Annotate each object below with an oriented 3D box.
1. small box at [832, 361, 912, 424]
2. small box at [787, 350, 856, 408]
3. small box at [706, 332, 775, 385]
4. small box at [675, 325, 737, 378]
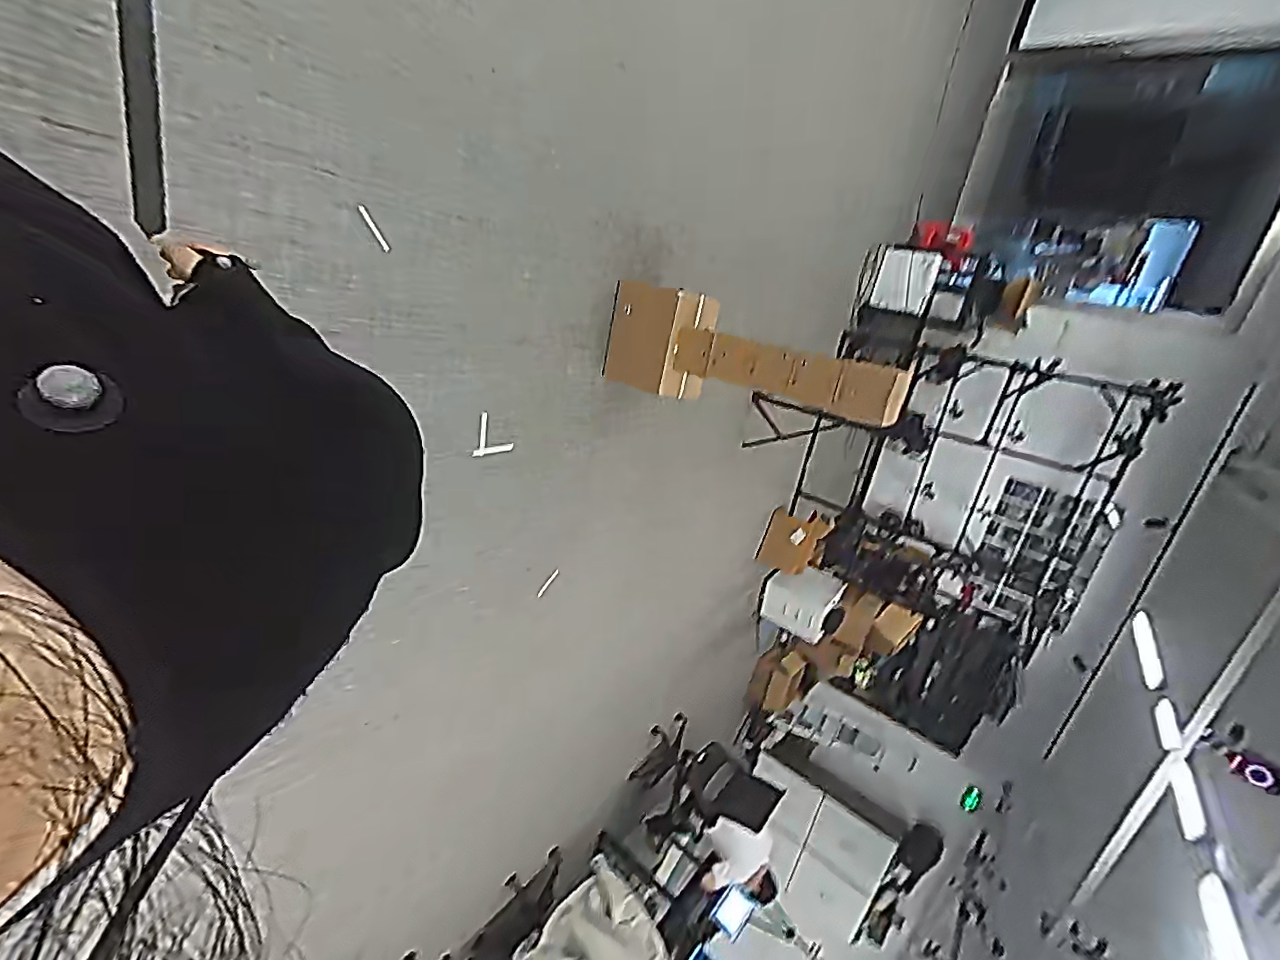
[{"bbox_3d":[0.747,-0.288,1.746,0.179,0.176,0.168,-13,119,-49],"label":"small box"},{"bbox_3d":[0.623,-0.343,1.839,0.179,0.176,0.168,-10,118,-51],"label":"small box"},{"bbox_3d":[0.376,-0.455,2.024,0.179,0.176,0.168,-12,119,-49],"label":"small box"},{"bbox_3d":[0.256,-0.506,2.121,0.168,0.176,0.179,-14,122,-49],"label":"small box"}]
